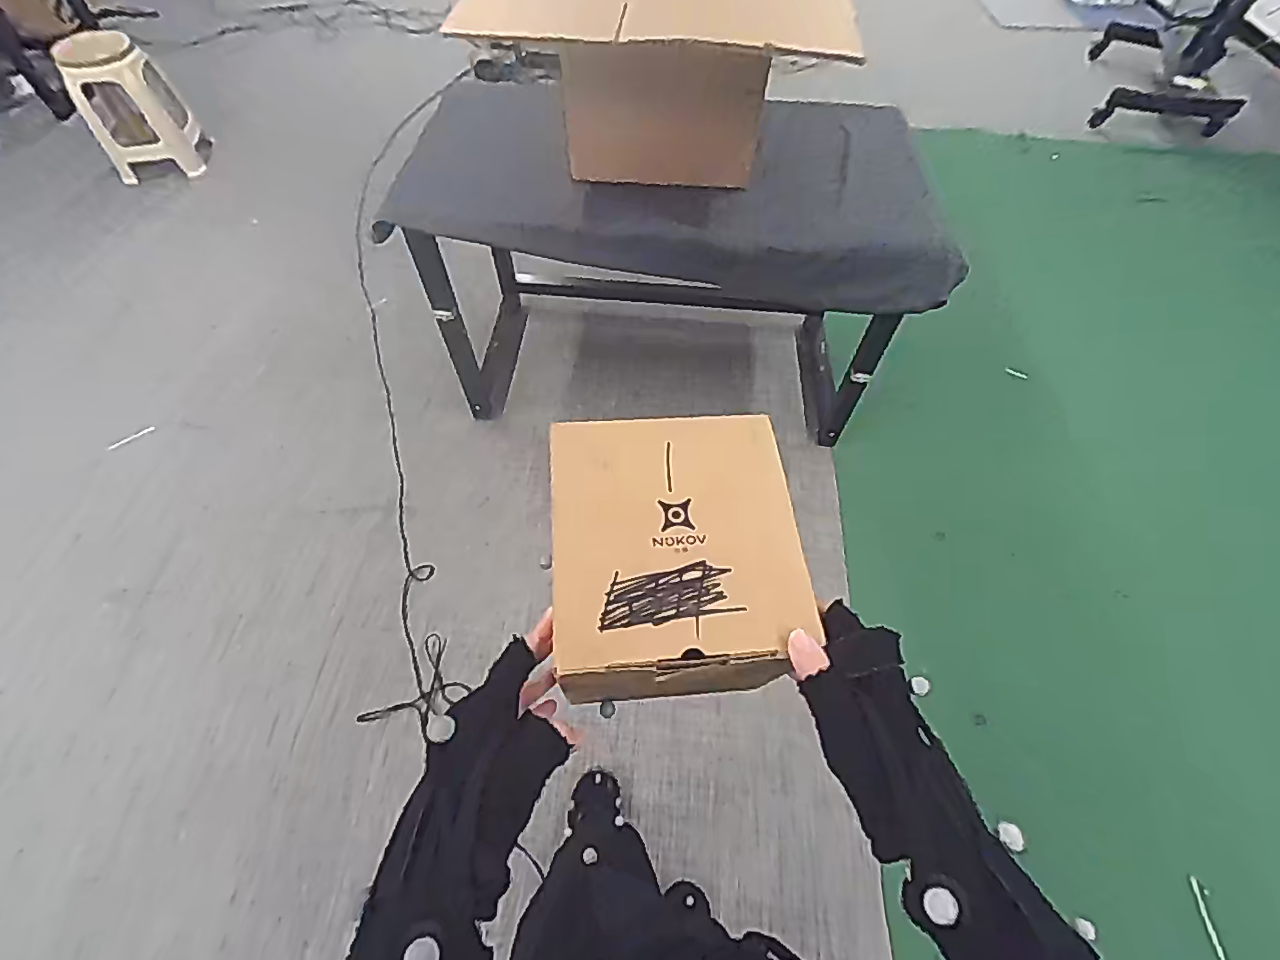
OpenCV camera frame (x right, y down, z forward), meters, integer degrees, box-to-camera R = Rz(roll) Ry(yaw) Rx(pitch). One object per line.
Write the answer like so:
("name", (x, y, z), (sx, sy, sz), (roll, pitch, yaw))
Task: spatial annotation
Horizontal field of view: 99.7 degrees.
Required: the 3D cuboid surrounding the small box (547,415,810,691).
("small box", (0.016, 0.068, 0.439), (0.168, 0.176, 0.179), (-3, 61, -5))
